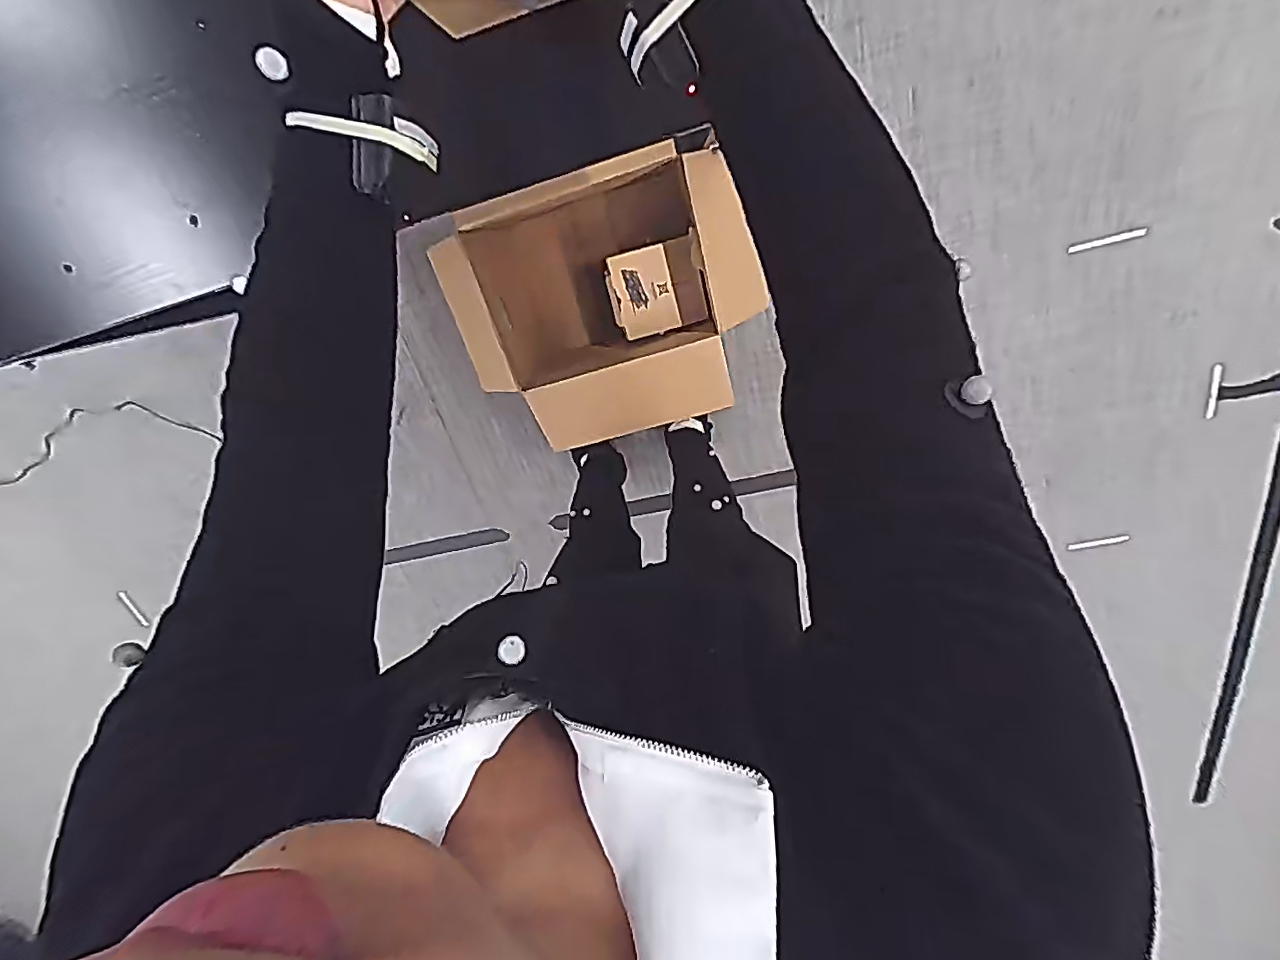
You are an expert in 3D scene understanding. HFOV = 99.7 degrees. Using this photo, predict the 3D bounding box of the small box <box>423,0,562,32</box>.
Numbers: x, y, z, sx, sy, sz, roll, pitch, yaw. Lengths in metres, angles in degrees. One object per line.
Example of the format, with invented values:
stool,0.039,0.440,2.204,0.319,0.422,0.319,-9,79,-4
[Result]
small box,-0.114,-0.447,0.356,0.168,0.176,0.179,-11,114,9
